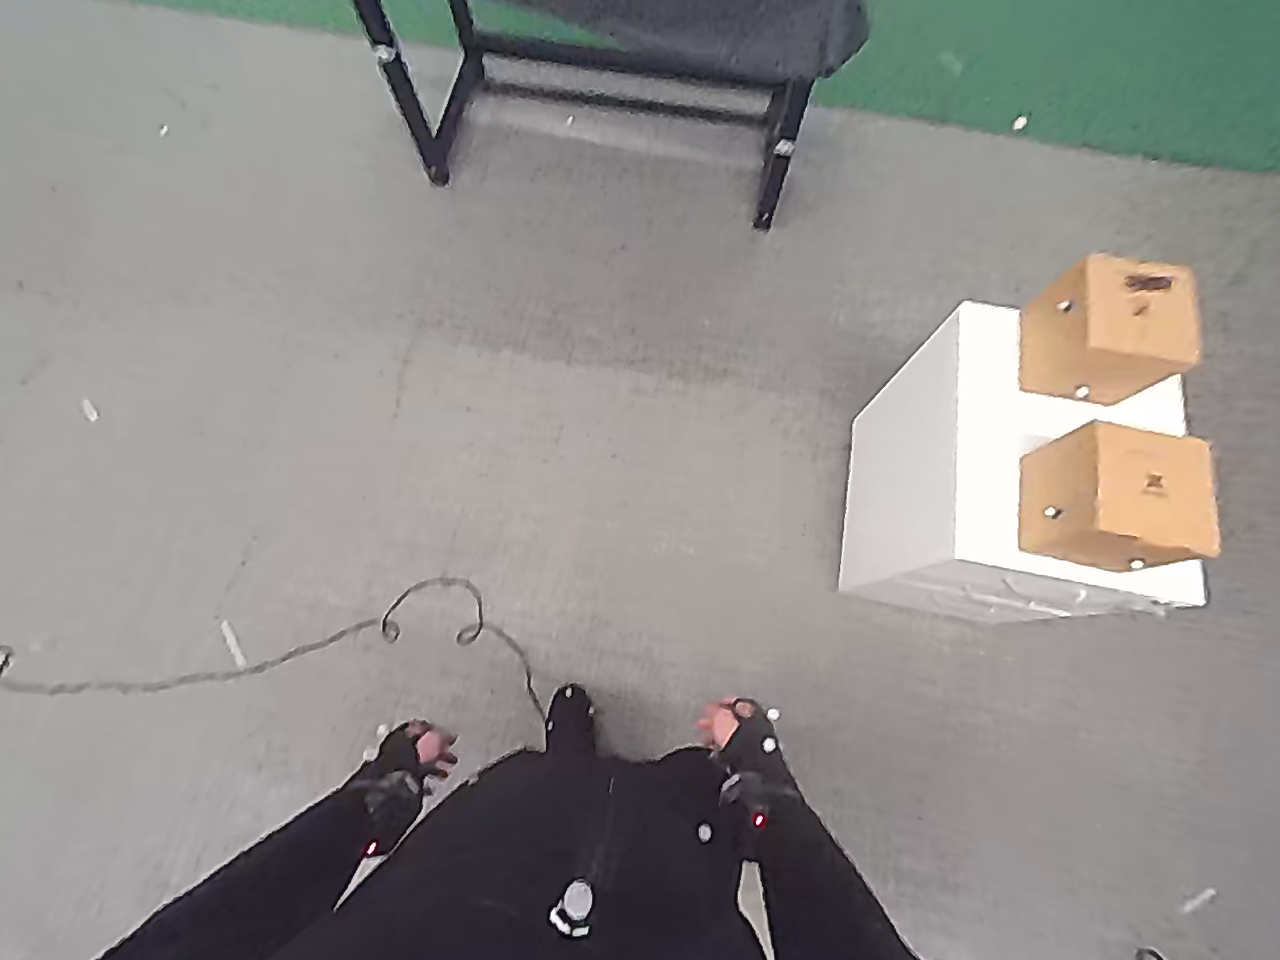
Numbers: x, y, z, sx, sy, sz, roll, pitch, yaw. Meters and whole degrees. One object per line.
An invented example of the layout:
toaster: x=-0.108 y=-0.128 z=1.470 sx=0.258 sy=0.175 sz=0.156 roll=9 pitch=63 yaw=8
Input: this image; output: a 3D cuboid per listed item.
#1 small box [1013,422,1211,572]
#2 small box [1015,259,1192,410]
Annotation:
small box: x=0.720 y=0.037 z=0.847 sx=0.168 sy=0.176 sz=0.179 roll=13 pitch=71 yaw=1
small box: x=0.784 y=-0.243 z=0.933 sx=0.168 sy=0.176 sz=0.179 roll=11 pitch=75 yaw=2
